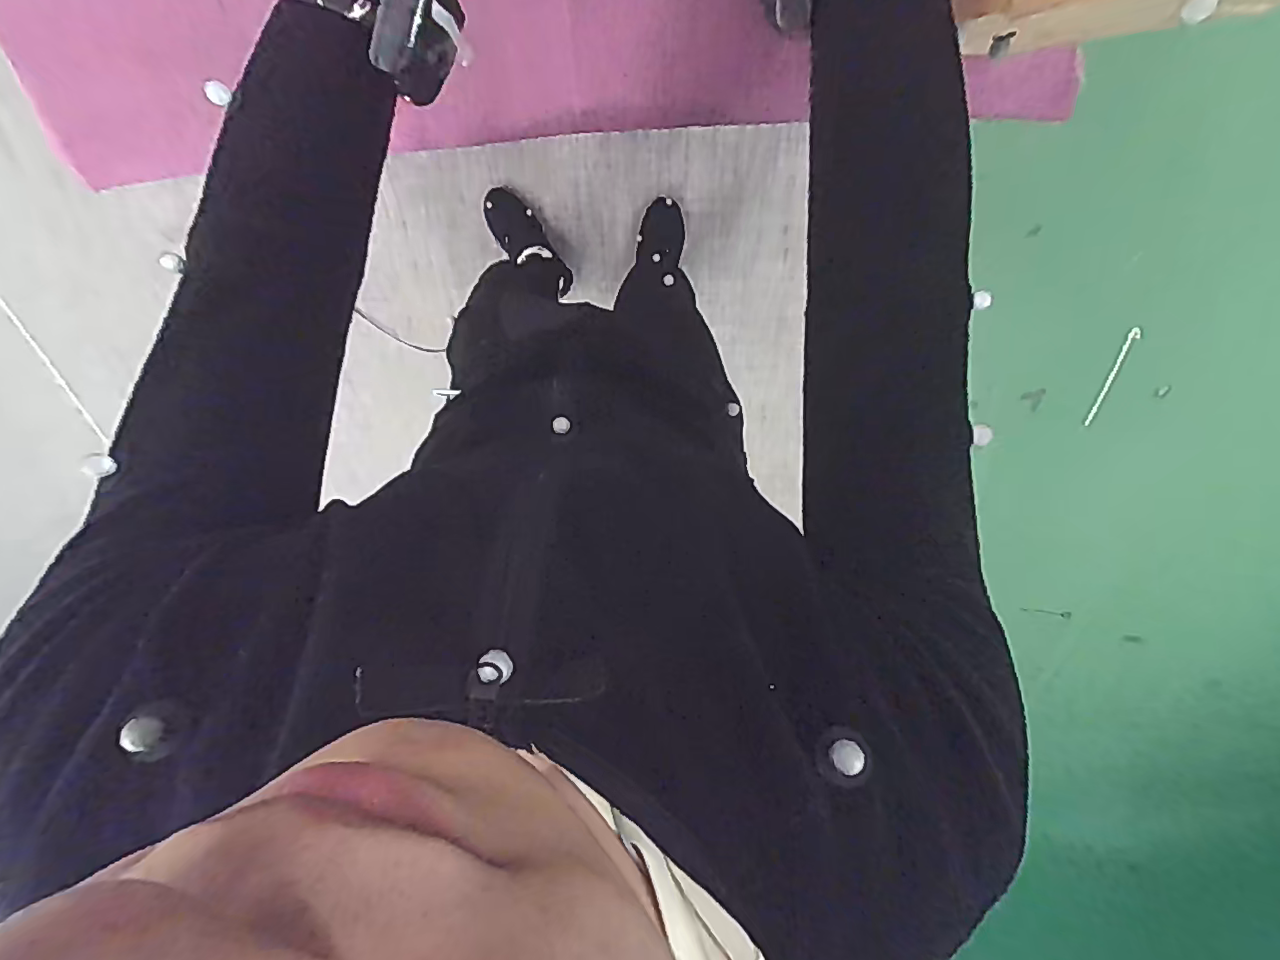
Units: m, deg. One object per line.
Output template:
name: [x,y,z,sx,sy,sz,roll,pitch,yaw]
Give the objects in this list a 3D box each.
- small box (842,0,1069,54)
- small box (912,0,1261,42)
small box: [0.310,-0.504,0.496,0.179,0.176,0.168,1,124,1]
small box: [0.310,-0.414,0.359,0.168,0.176,0.179,2,125,1]
